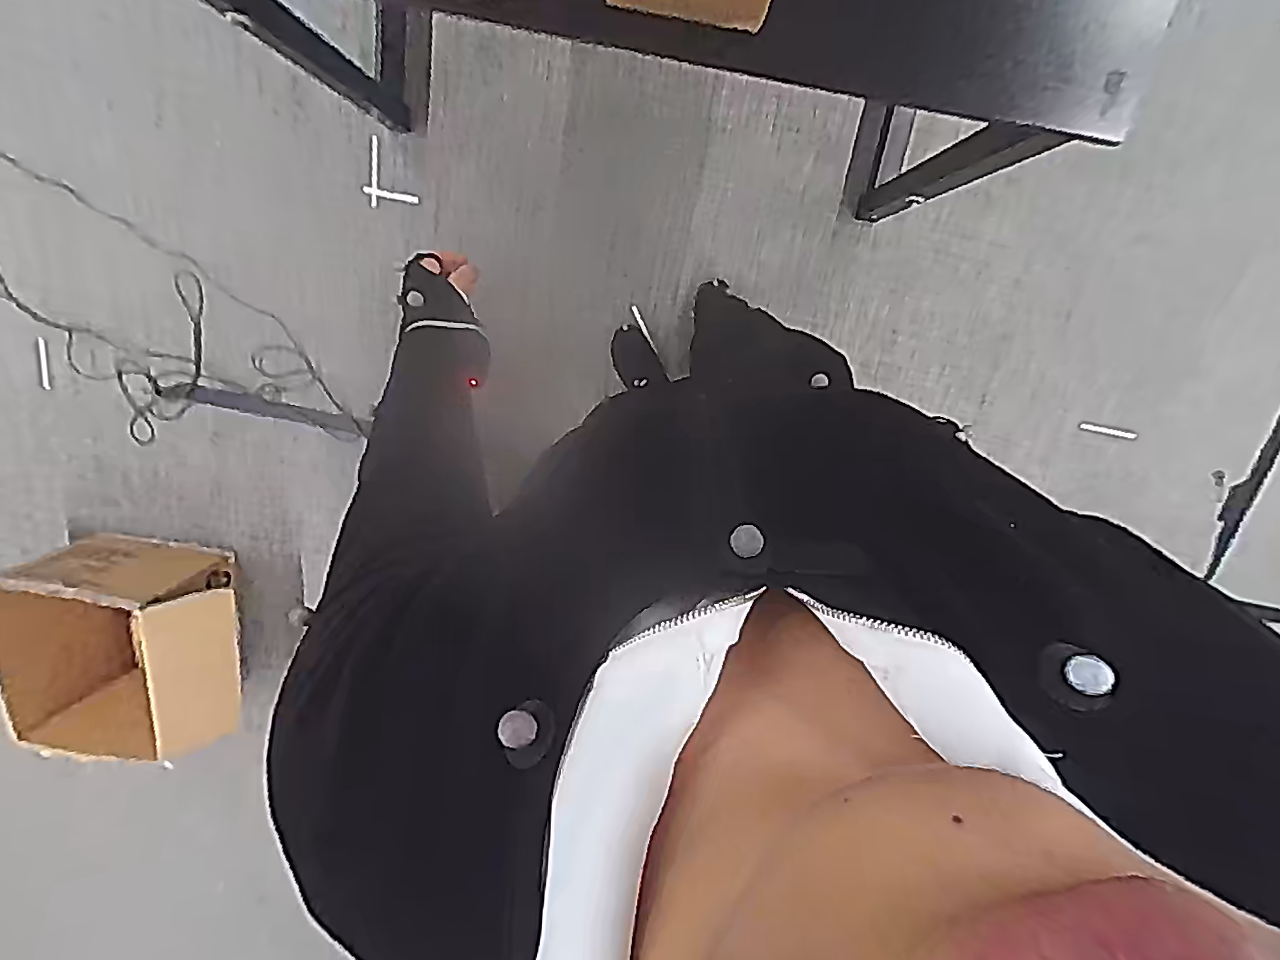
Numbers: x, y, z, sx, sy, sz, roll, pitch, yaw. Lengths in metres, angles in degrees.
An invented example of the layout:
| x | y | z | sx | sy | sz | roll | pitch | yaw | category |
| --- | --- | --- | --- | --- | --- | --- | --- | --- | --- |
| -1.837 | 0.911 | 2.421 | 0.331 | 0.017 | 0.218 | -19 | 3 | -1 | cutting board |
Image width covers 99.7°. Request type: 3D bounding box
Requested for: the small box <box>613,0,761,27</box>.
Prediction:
| x | y | z | sx | sy | sz | roll | pitch | yaw | category |
| --- | --- | --- | --- | --- | --- | --- | --- | --- | --- |
| 0.054 | -0.567 | 0.502 | 0.179 | 0.176 | 0.168 | 9 | 108 | -2 | small box |
